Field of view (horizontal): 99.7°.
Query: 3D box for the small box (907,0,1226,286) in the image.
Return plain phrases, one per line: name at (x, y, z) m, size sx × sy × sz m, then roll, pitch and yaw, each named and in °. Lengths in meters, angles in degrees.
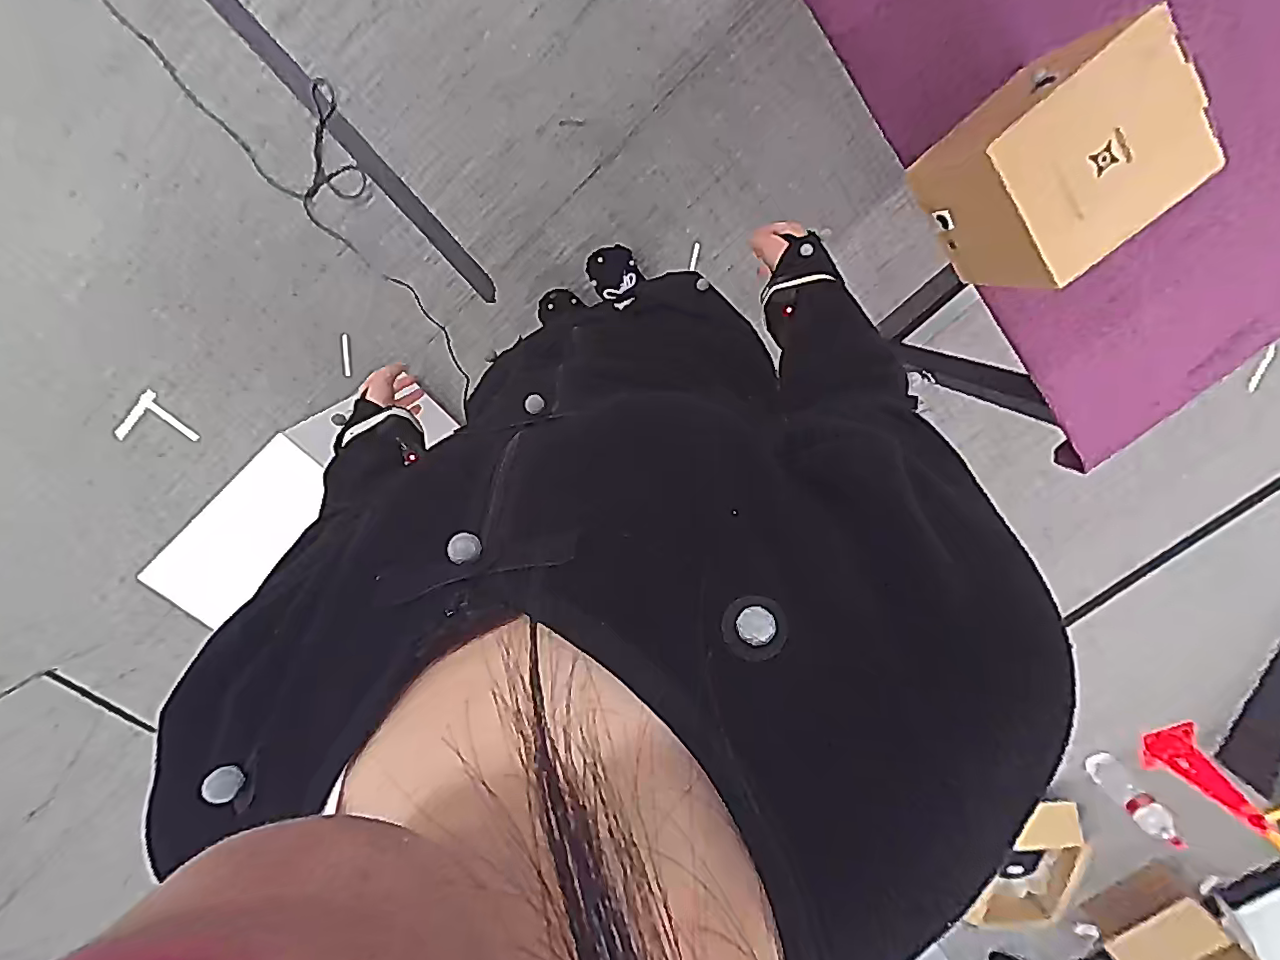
small box at (0.431, -0.333, 0.576) m, size 0.179 × 0.176 × 0.168 m, roll -39°, pitch 108°, yaw 13°
